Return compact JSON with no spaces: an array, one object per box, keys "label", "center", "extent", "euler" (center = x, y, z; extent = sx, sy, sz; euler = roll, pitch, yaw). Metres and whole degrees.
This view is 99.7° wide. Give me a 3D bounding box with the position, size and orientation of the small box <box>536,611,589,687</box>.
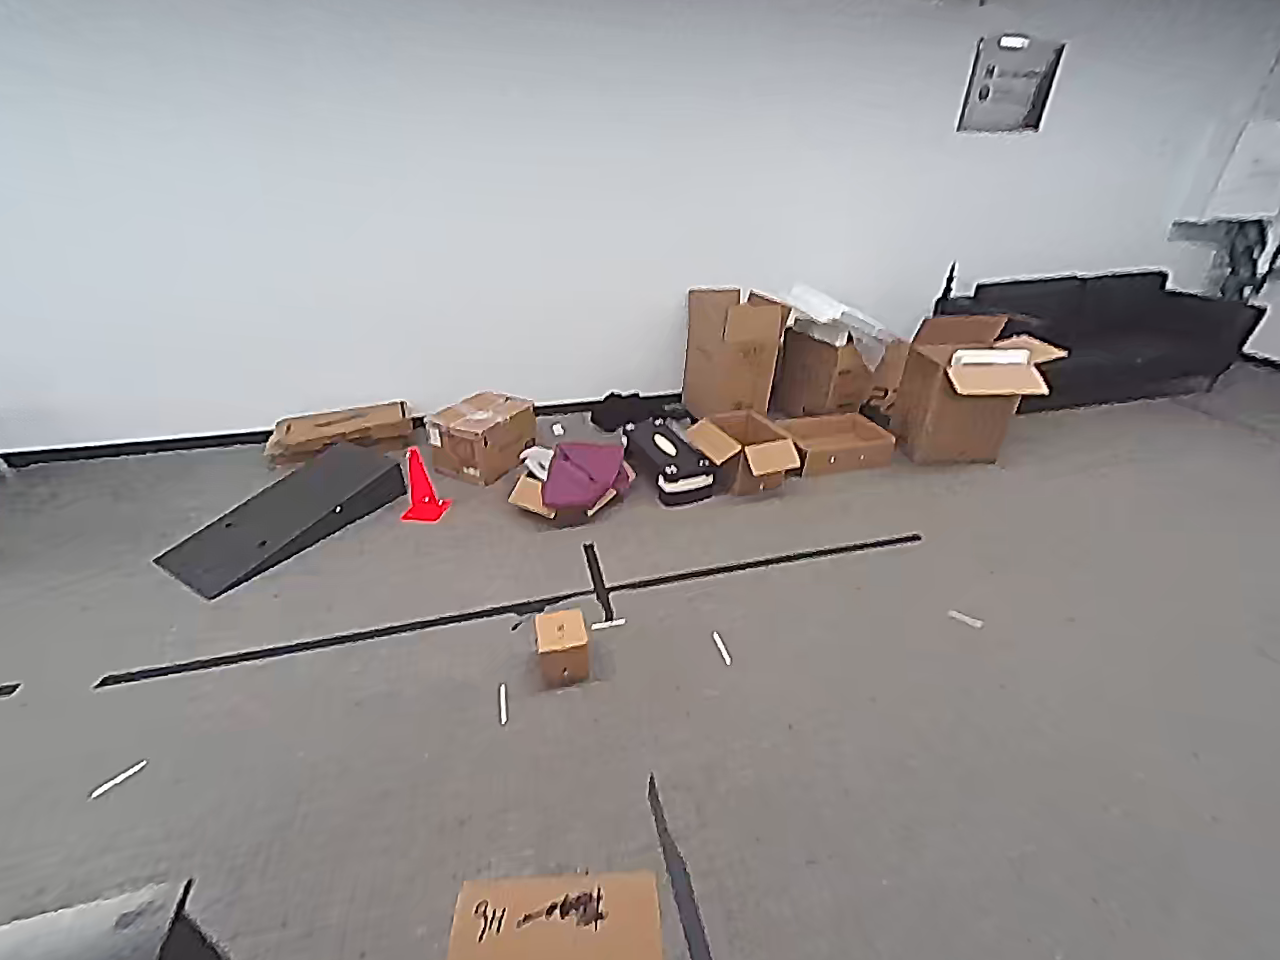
[{"label":"small box","center":[-0.274,0.595,1.906],"extent":[0.168,0.176,0.179],"euler":[-7,31,-12]}]
